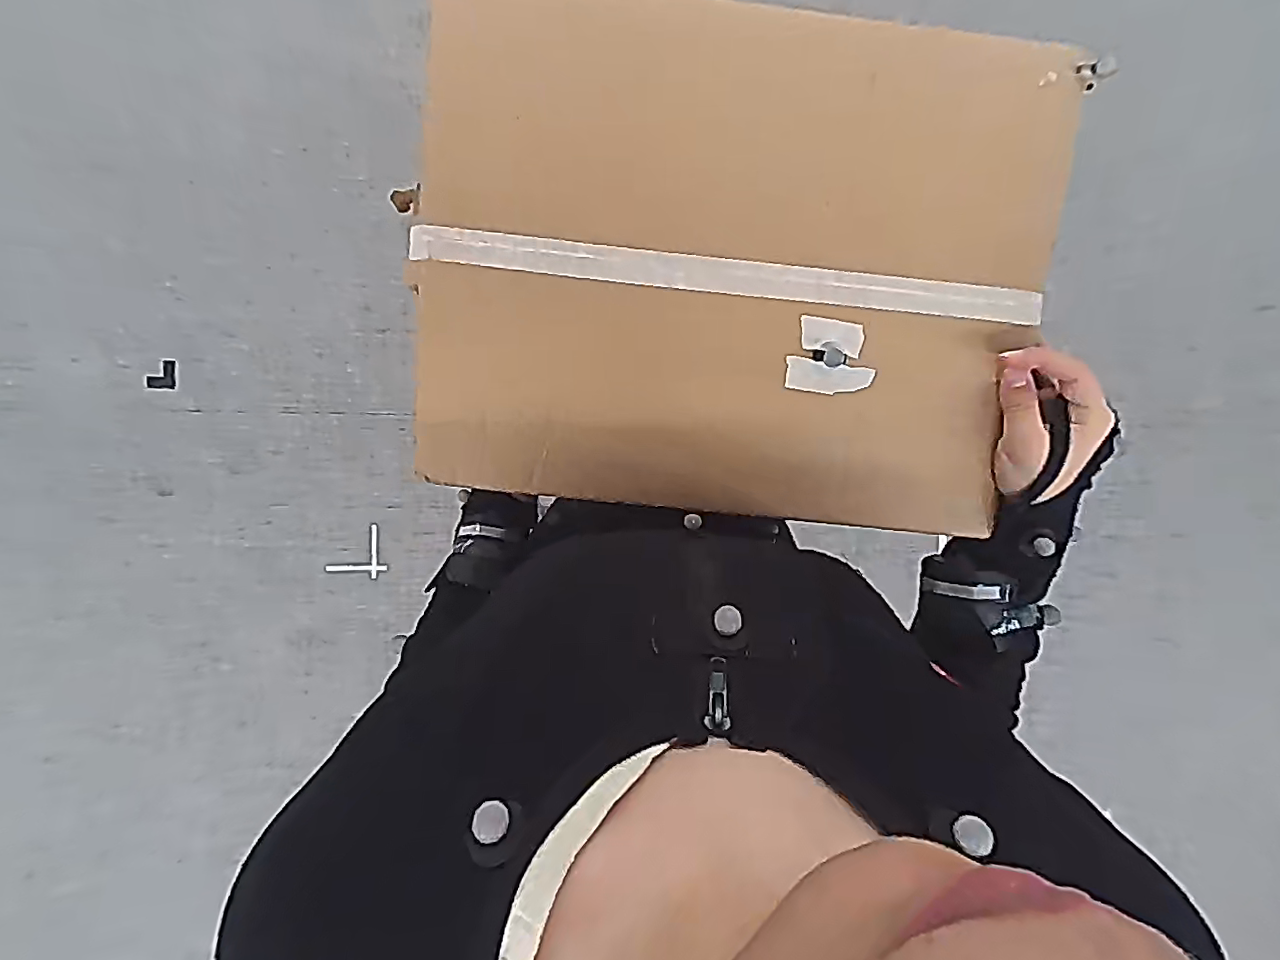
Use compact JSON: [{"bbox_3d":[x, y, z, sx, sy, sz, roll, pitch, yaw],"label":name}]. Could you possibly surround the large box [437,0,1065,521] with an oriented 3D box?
[{"bbox_3d":[0.059,-0.156,0.507,0.408,0.320,0.320,5,100,-3],"label":"large box"}]
